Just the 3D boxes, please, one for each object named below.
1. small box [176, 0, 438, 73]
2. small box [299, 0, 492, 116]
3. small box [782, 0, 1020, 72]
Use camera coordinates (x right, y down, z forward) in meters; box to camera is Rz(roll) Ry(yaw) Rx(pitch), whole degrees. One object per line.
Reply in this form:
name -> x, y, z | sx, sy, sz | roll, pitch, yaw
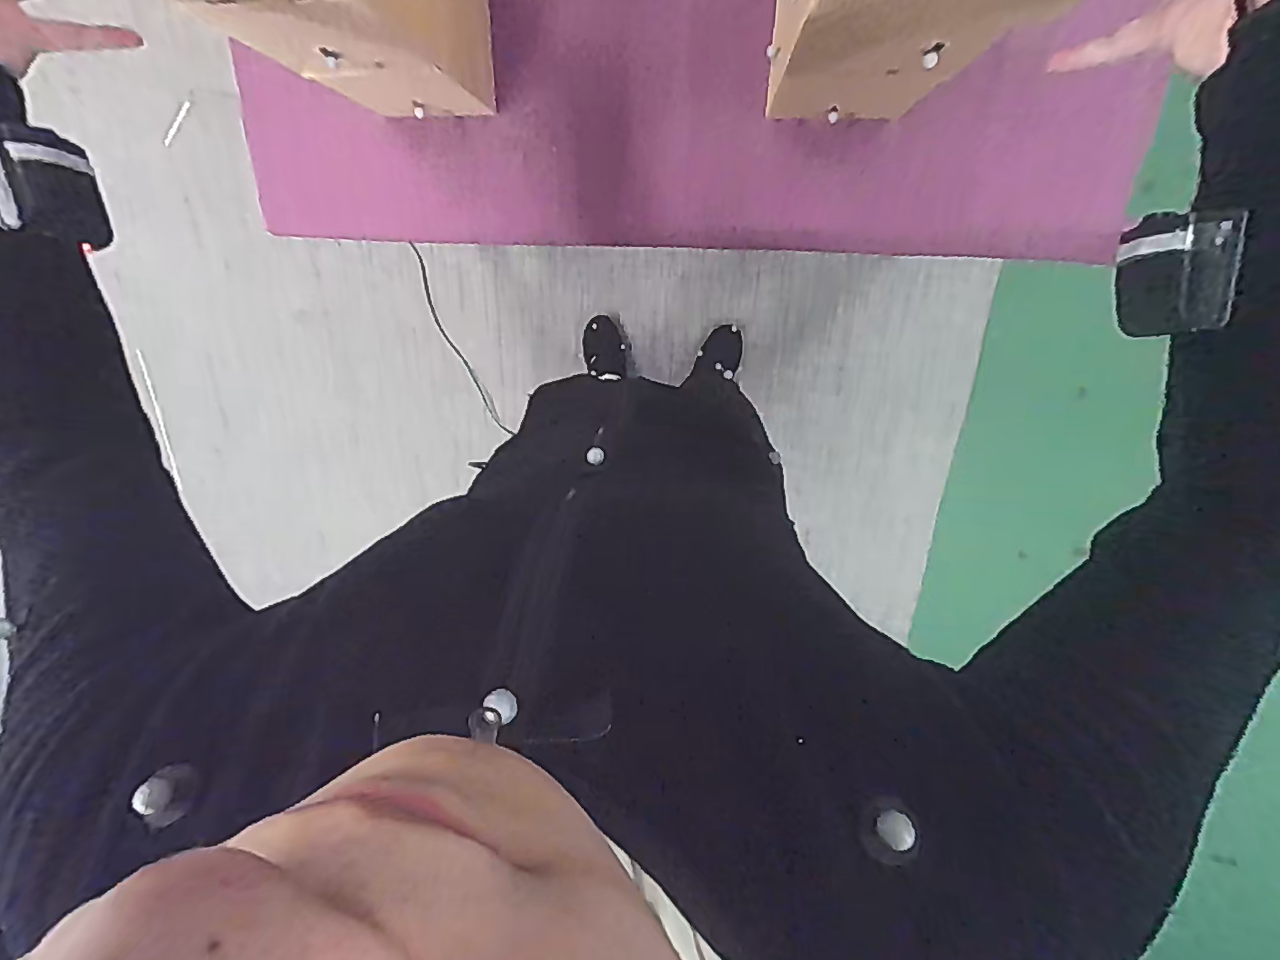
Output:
small box -> -0.305, -0.506, 0.492 | 0.168, 0.176, 0.179 | 2, 111, 6
small box -> -0.288, -0.561, 0.644 | 0.168, 0.176, 0.179 | 3, 111, 6
small box -> 0.215, -0.461, 0.443 | 0.168, 0.176, 0.179 | 3, 111, 6
